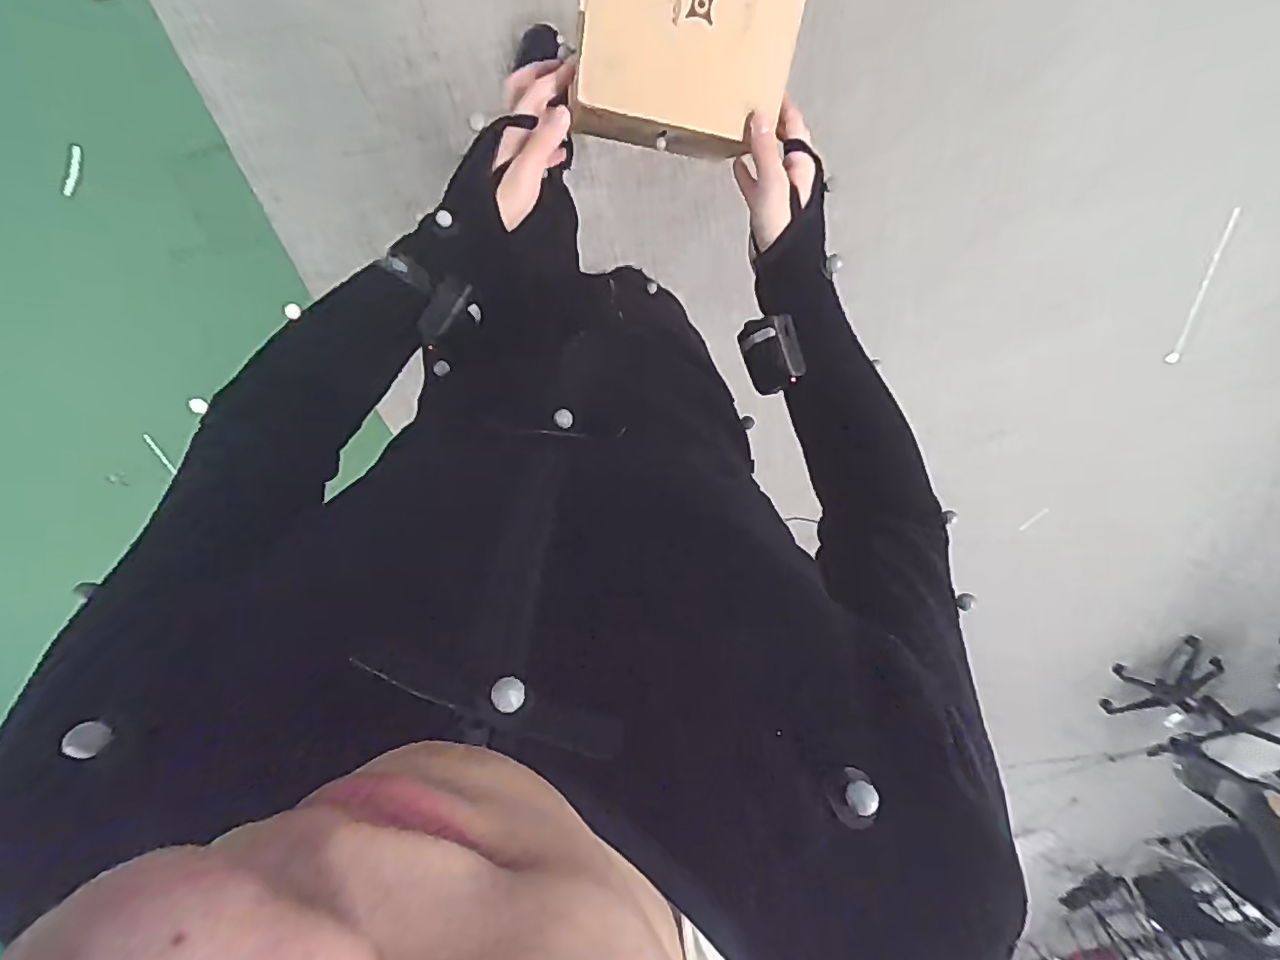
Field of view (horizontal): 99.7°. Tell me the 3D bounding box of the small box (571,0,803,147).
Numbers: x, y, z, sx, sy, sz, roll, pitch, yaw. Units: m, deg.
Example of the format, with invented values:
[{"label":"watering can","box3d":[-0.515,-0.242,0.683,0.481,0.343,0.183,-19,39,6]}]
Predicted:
[{"label":"small box","box3d":[0.033,-0.418,0.490,0.179,0.176,0.168,5,115,-12]}]
